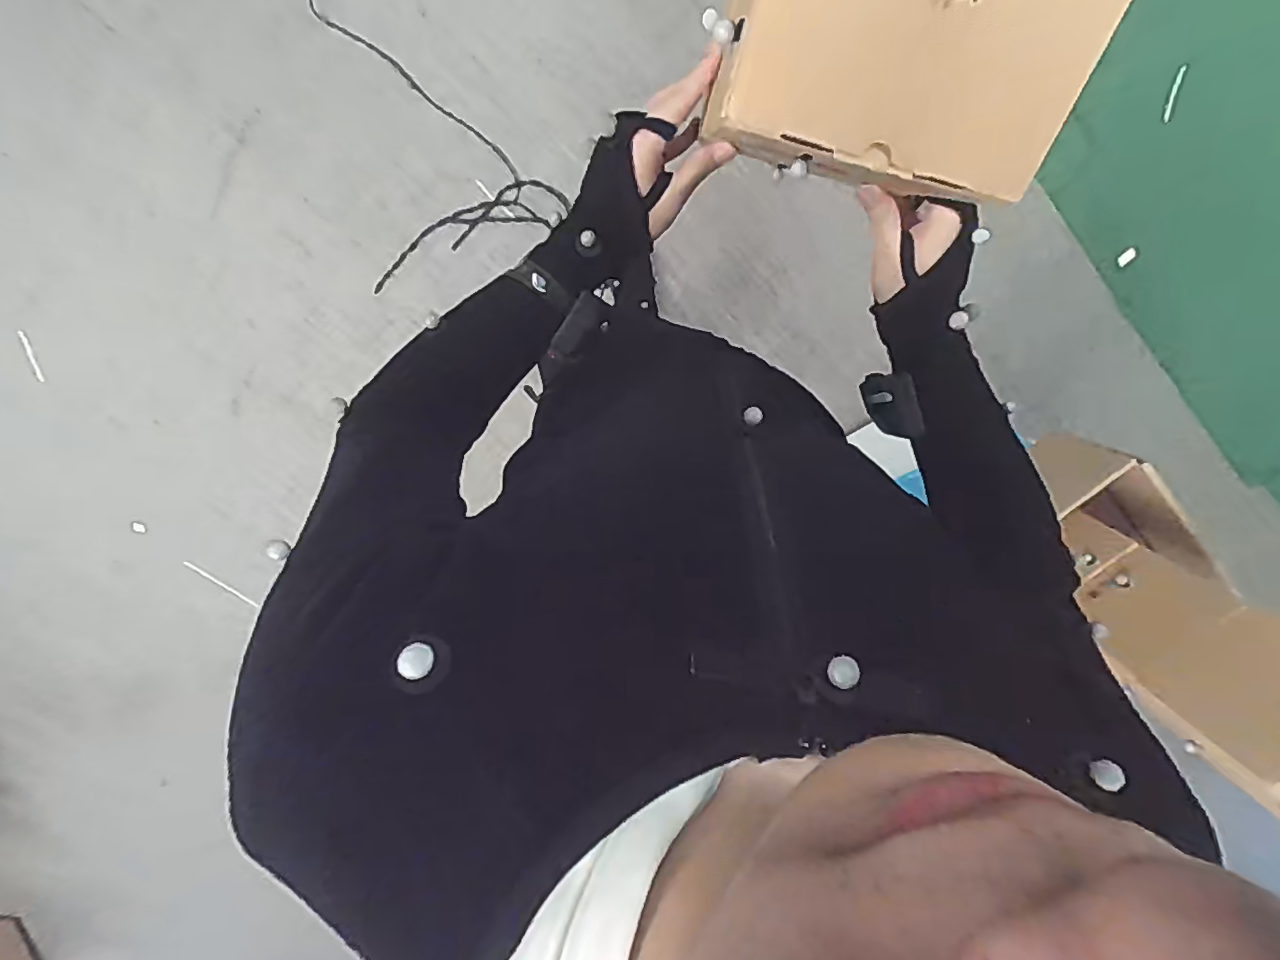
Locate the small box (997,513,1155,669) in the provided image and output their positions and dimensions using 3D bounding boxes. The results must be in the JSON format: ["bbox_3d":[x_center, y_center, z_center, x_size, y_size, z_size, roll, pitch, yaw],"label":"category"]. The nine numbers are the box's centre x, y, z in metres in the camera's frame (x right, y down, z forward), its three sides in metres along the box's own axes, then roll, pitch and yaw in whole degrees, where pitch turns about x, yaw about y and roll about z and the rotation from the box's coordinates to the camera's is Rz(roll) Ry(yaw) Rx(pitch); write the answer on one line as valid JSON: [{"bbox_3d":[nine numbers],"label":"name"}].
[{"bbox_3d":[0.793,0.189,0.960,0.179,0.176,0.168,42,105,-16],"label":"small box"}]

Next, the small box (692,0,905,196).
[{"bbox_3d":[0.148,-0.352,0.448,0.179,0.176,0.168,13,121,-3],"label":"small box"}]

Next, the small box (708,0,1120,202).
[{"bbox_3d":[0.140,-0.277,0.305,0.168,0.176,0.179,12,121,-4],"label":"small box"}]

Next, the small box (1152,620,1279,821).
[{"bbox_3d":[0.801,0.306,0.655,0.168,0.176,0.179,42,104,-15],"label":"small box"}]

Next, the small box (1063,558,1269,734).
[{"bbox_3d":[0.801,0.250,0.810,0.179,0.176,0.168,42,105,-15],"label":"small box"}]
